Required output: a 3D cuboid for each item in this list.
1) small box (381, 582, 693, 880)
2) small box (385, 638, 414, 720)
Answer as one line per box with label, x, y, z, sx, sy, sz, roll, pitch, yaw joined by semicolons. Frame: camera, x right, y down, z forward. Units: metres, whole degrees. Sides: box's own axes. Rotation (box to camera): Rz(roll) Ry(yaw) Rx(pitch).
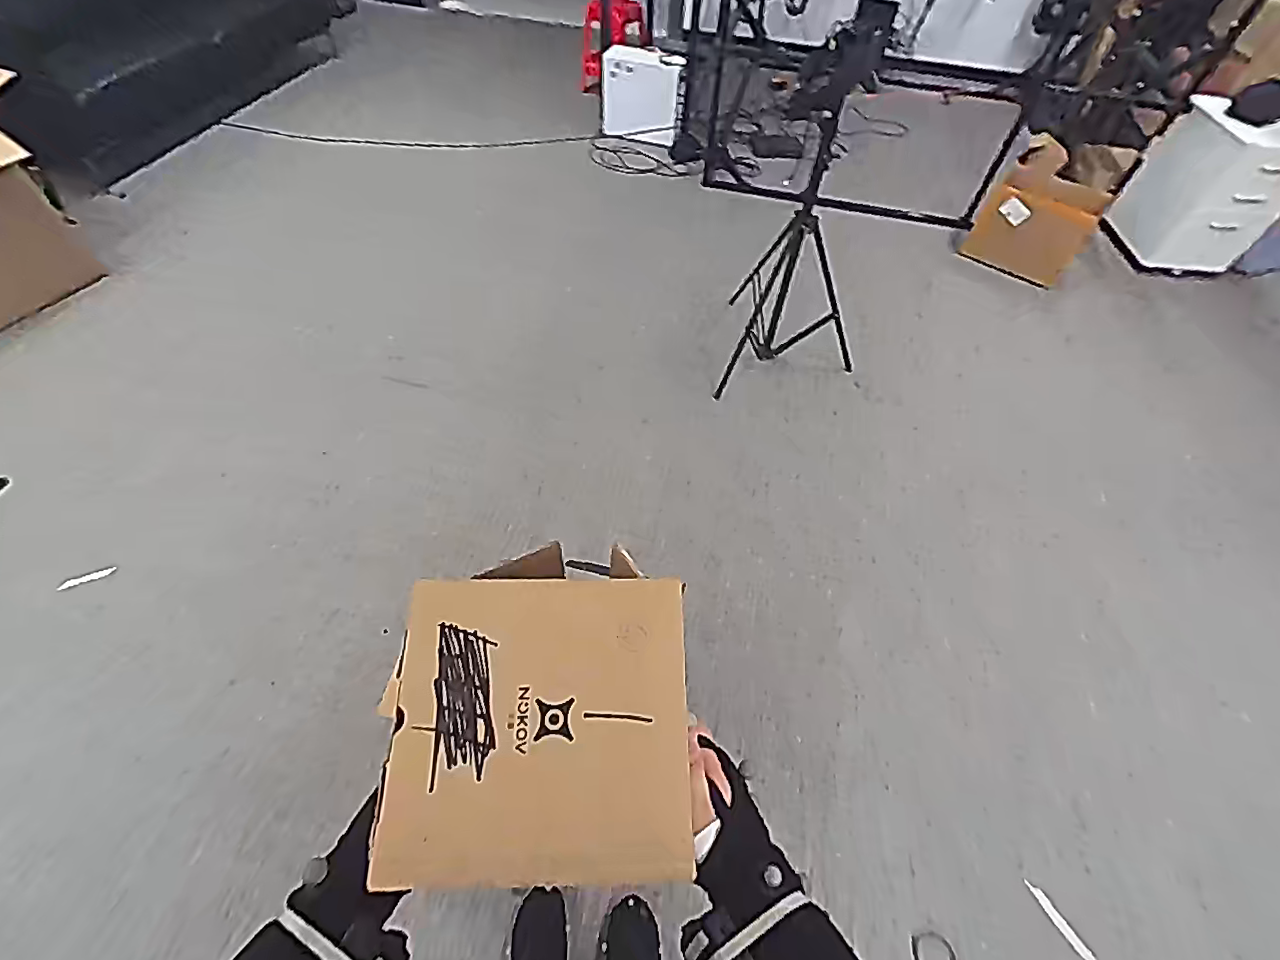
small box;-0.059;0.175;0.402;0.179;0.176;0.168;-1;68;-2
small box;-0.278;0.324;0.886;0.168;0.176;0.179;8;58;5
